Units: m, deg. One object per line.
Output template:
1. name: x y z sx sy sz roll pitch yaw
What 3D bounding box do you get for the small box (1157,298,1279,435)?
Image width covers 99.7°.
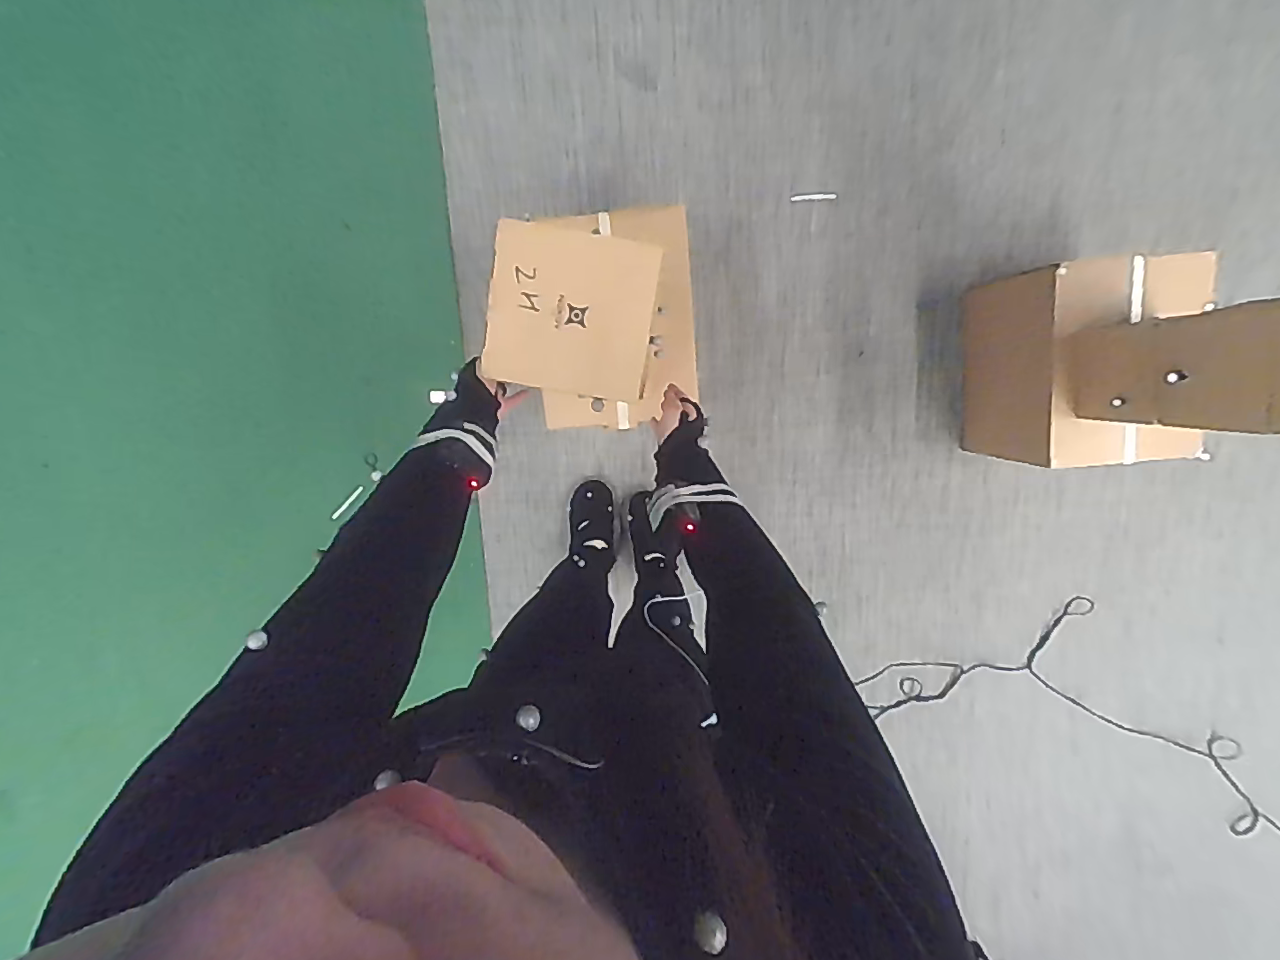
1. small box: 0.946 -0.179 0.825 0.168 0.176 0.179 -13 101 3

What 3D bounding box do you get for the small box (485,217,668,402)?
1. small box: -0.069 -0.194 0.654 0.179 0.176 0.168 10 100 -1

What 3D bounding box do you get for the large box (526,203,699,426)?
1. large box: -0.048 -0.341 1.206 0.320 0.320 0.408 -5 99 1
